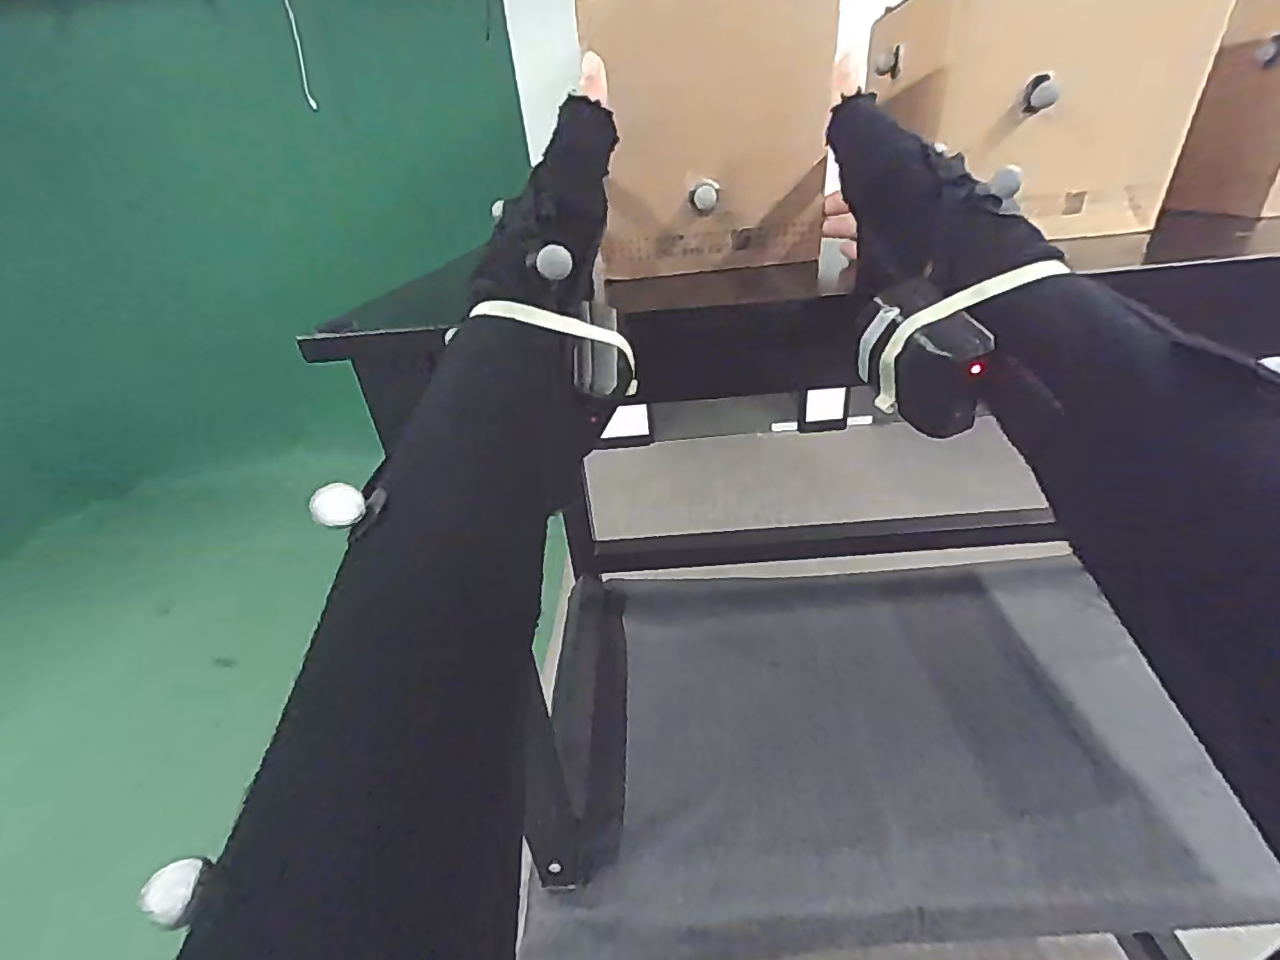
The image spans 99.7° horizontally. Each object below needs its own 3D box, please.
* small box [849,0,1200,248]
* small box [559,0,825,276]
[{"bbox_3d":[0.274,-0.285,0.424,0.168,0.176,0.179,-4,29,5],"label":"small box"},{"bbox_3d":[0.034,-0.268,0.436,0.168,0.176,0.179,-6,30,0],"label":"small box"}]
